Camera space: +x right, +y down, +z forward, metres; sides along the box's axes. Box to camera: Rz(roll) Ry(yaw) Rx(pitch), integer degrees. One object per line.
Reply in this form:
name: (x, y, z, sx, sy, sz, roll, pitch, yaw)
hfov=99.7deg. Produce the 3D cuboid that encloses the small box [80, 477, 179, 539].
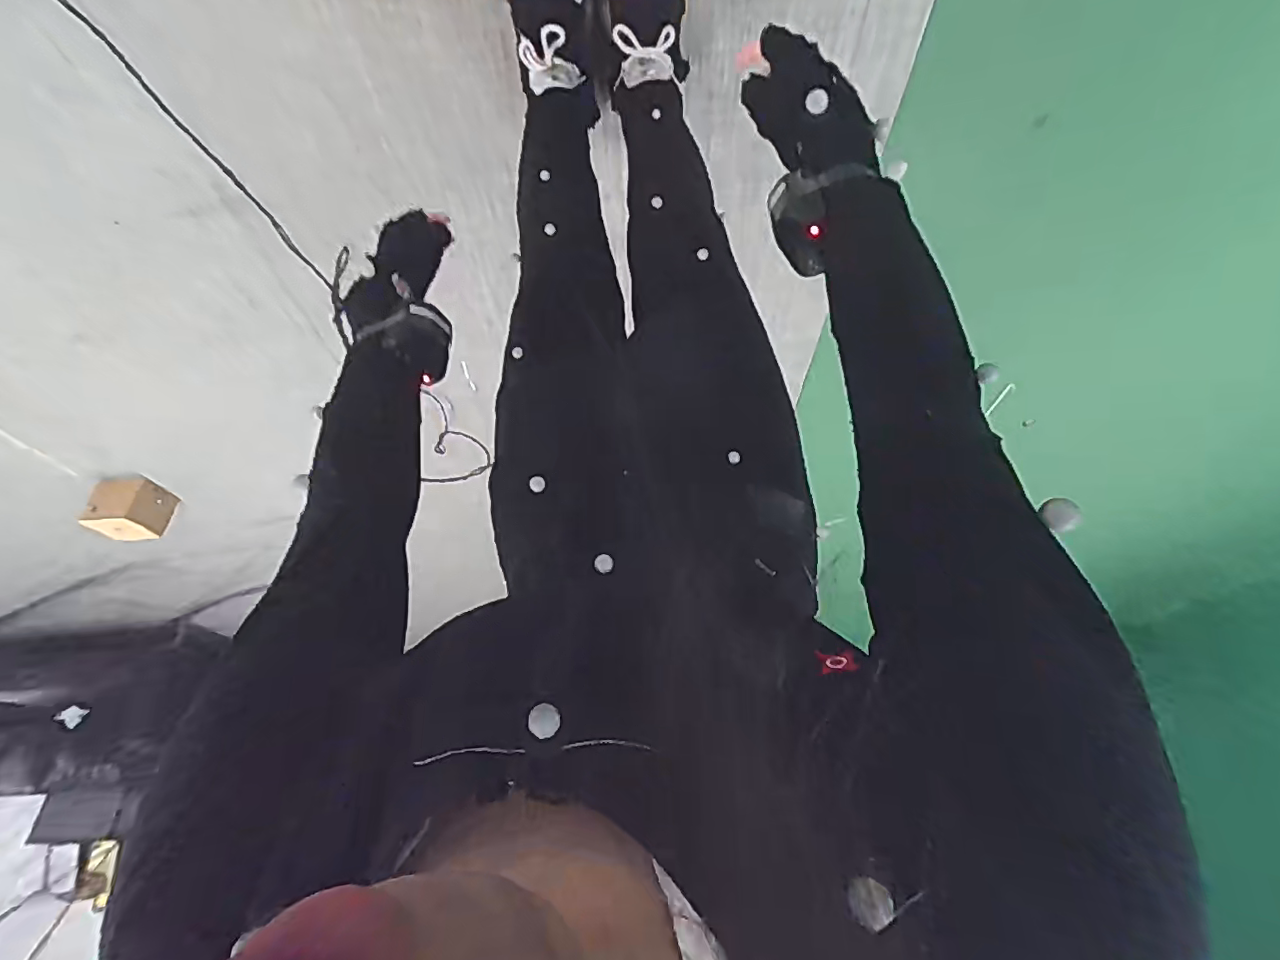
small box: (-1.847, 0.101, 1.969, 0.179, 0.176, 0.168, -4, 150, 2)
